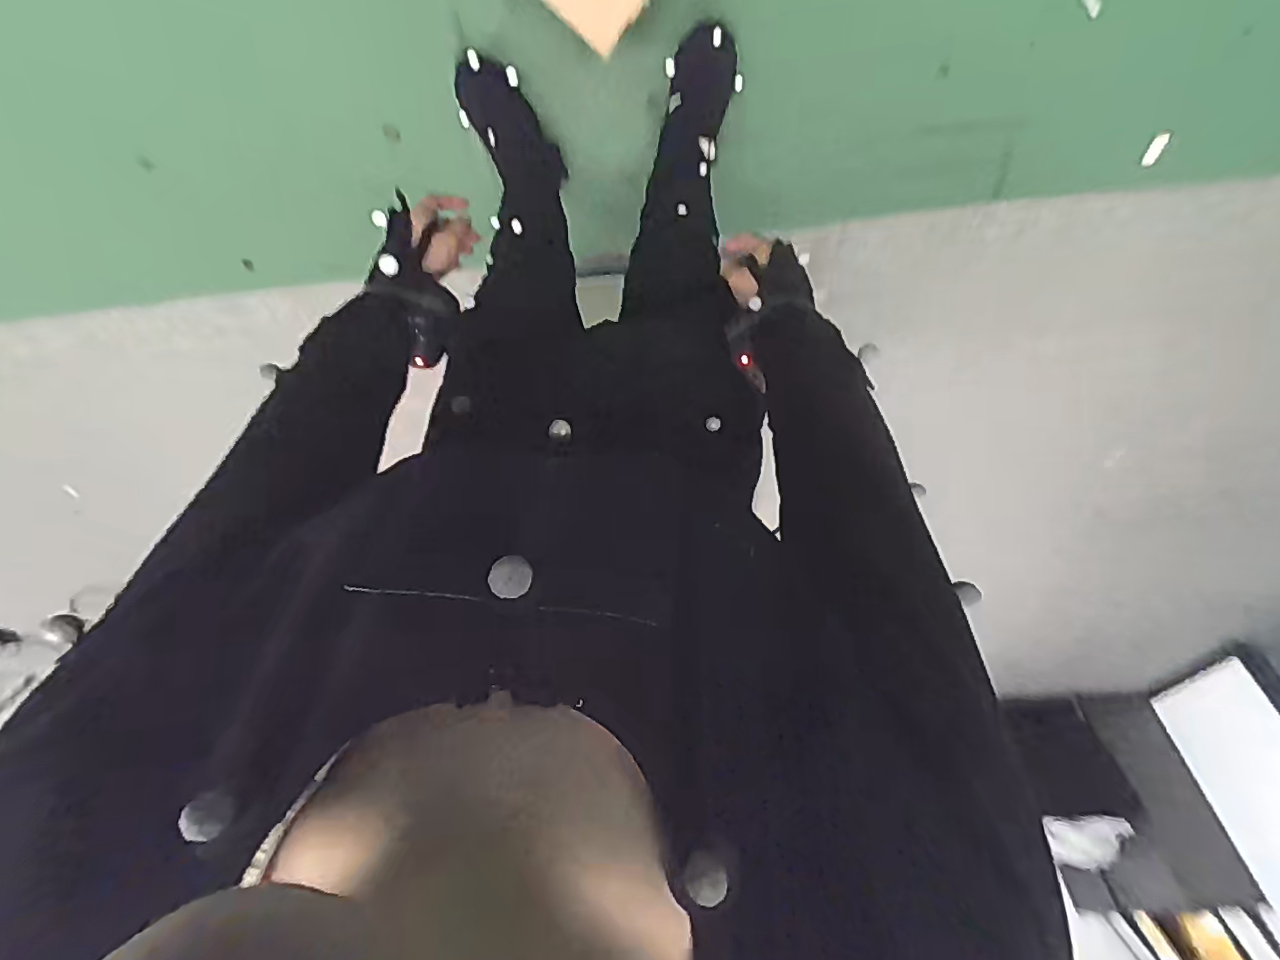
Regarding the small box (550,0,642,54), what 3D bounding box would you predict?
[{"bbox_3d":[-0.065,-0.761,0.755,0.179,0.176,0.168,27,133,-30],"label":"small box"}]
